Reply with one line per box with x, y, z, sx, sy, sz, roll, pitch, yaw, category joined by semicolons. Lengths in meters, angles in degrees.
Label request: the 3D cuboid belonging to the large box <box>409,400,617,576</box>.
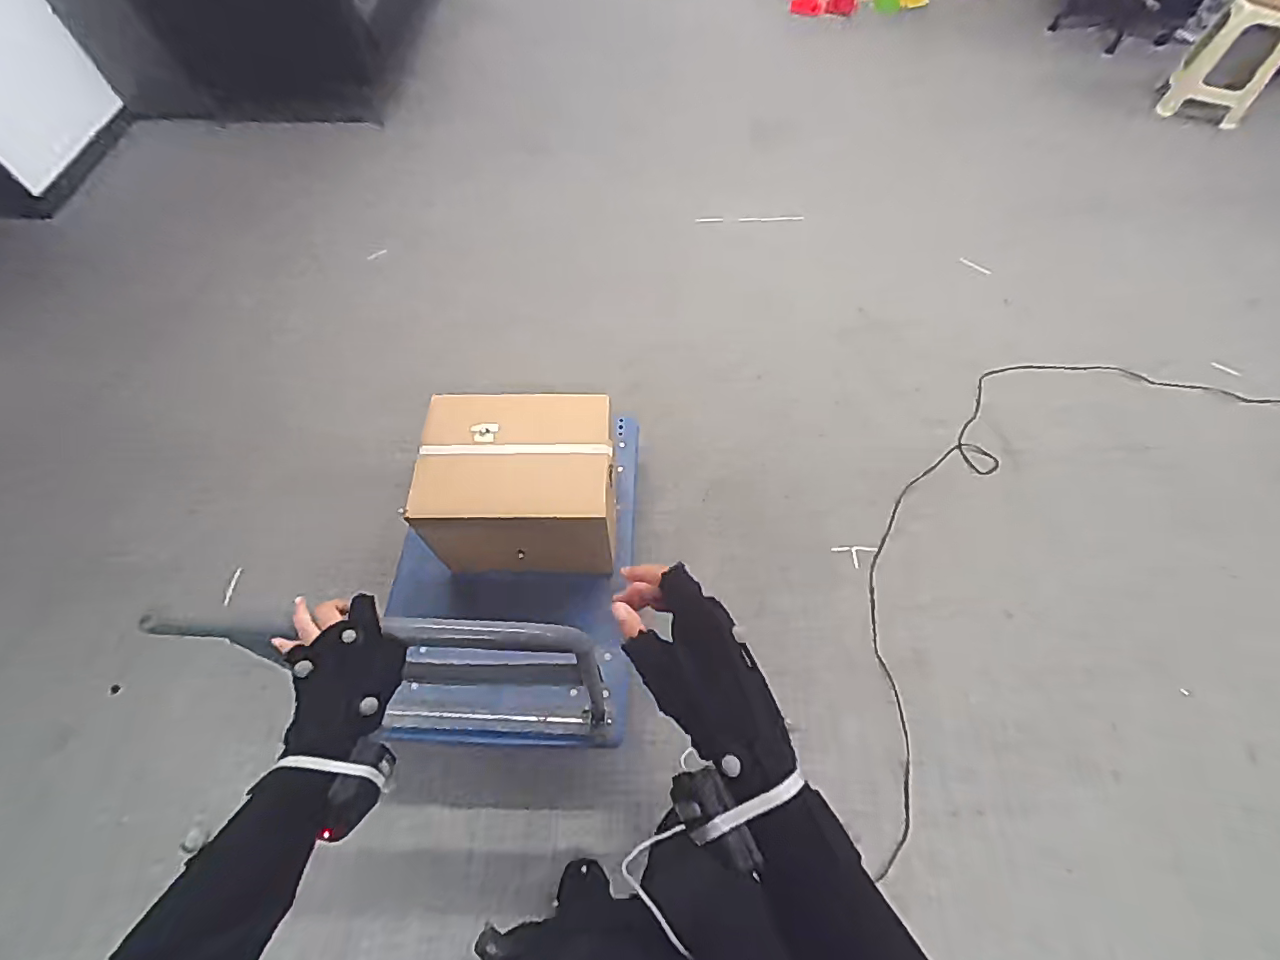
-0.262;0.030;1.281;0.408;0.320;0.320;-1;58;1;large box
